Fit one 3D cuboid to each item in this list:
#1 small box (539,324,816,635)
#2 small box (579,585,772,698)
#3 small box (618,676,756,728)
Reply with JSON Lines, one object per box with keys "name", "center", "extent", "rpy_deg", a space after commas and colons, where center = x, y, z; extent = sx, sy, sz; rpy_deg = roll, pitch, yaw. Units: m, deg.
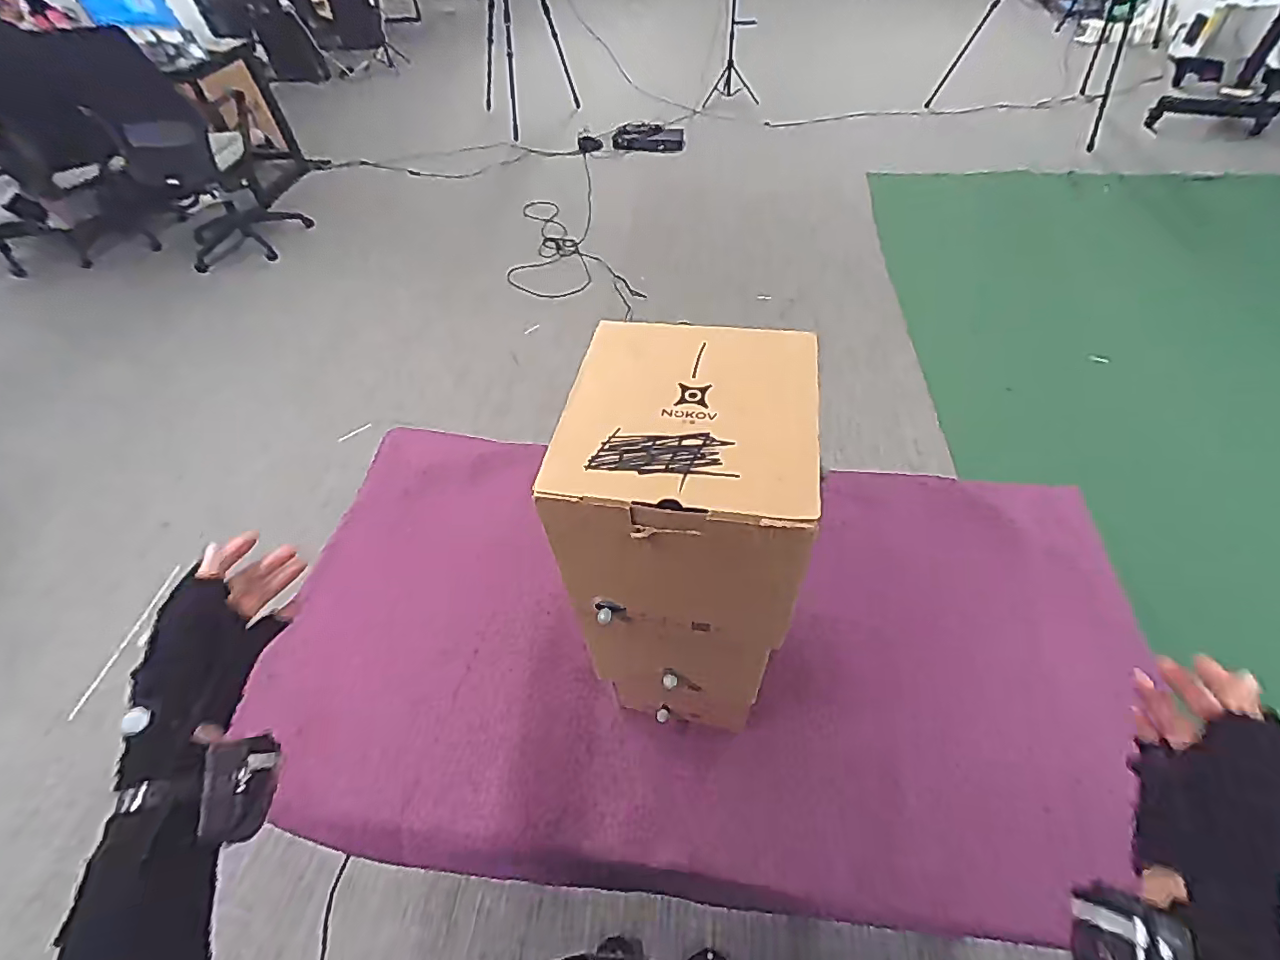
{"name": "small box", "center": [0.040, 0.001, 0.424], "extent": [0.168, 0.176, 0.179], "rpy_deg": [6, 51, 10]}
{"name": "small box", "center": [0.047, 0.098, 0.556], "extent": [0.168, 0.176, 0.179], "rpy_deg": [6, 51, 10]}
{"name": "small box", "center": [0.065, 0.191, 0.691], "extent": [0.168, 0.176, 0.179], "rpy_deg": [7, 52, 11]}
